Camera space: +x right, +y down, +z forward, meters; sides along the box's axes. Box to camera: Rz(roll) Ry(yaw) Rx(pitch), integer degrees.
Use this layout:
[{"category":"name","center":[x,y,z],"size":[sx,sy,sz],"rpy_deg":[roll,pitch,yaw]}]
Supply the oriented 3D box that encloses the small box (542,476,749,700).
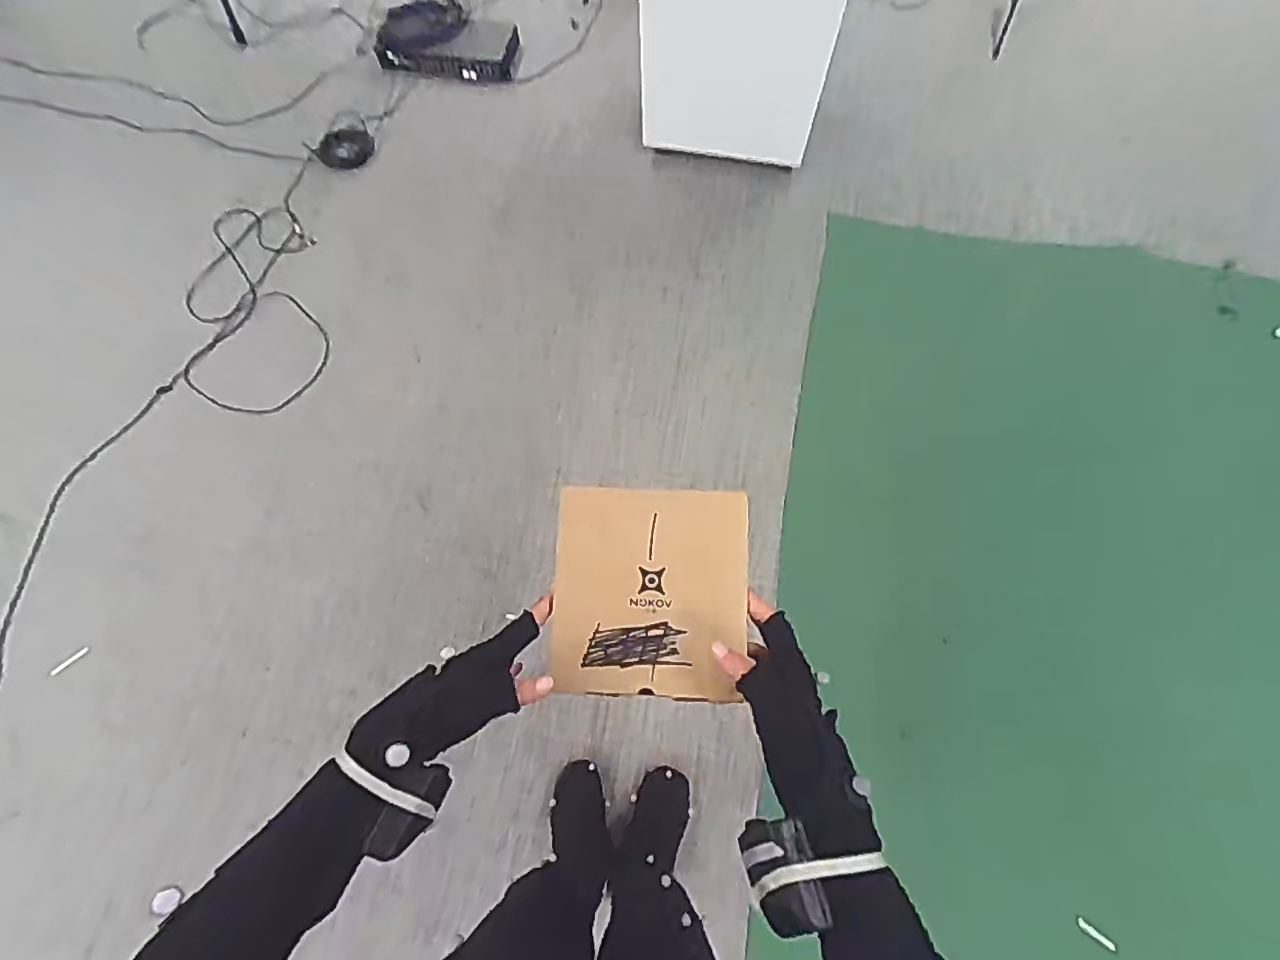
[{"category":"small box","center":[0.010,0.097,0.525],"size":[0.168,0.176,0.179],"rpy_deg":[2,82,3]}]
